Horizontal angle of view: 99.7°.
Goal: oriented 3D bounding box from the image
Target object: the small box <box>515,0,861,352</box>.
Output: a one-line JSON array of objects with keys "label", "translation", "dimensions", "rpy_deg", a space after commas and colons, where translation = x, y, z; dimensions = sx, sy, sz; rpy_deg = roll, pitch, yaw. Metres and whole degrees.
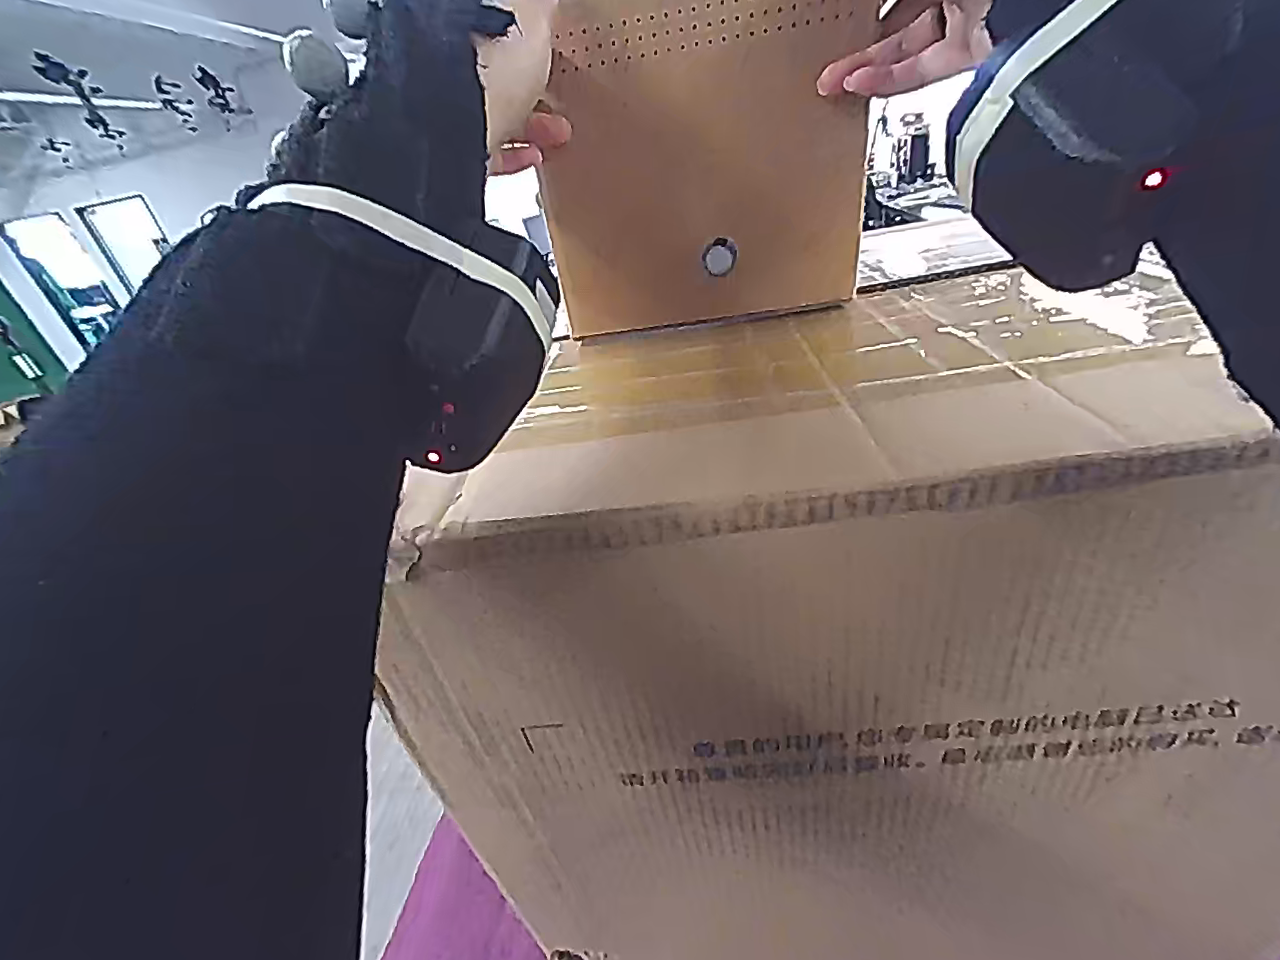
[{"label": "small box", "translation": [0.030, -0.203, 0.354], "dimensions": [0.179, 0.176, 0.168], "rpy_deg": [-6, 35, 7]}]
